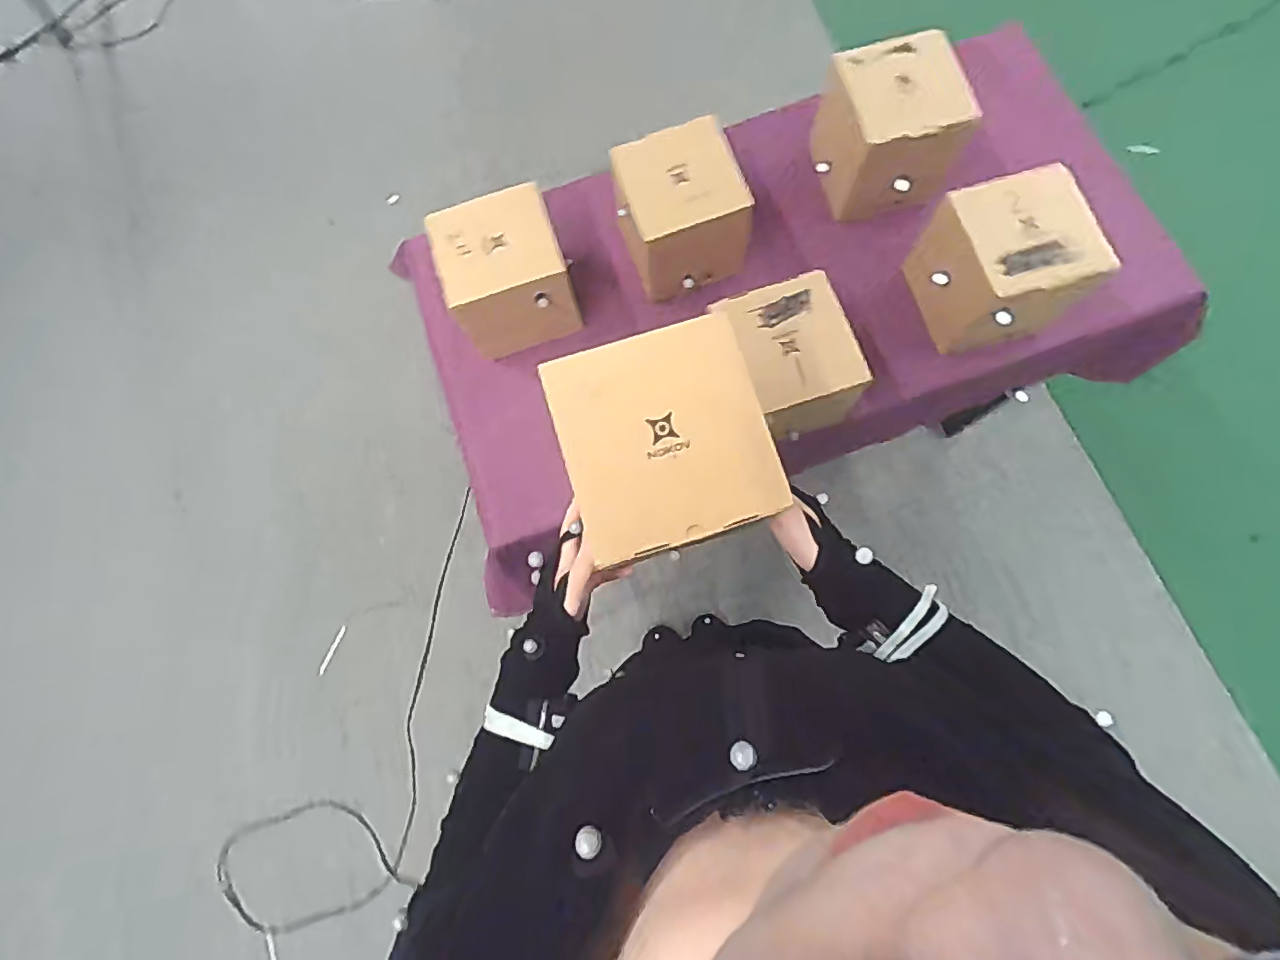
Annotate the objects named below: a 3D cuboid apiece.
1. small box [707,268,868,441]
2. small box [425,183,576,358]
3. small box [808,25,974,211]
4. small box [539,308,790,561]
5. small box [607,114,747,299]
[{"bbox_3d":[0.198,-0.167,0.790,0.168,0.176,0.179,-19,75,1],"label":"small box"},{"bbox_3d":[-0.210,-0.324,0.864,0.179,0.176,0.168,-19,75,0],"label":"small box"},{"bbox_3d":[0.387,-0.565,0.870,0.168,0.176,0.179,-13,76,1],"label":"small box"},{"bbox_3d":[0.016,-0.028,0.513,0.168,0.176,0.179,-17,81,-2],"label":"small box"},{"bbox_3d":[0.058,-0.428,0.868,0.168,0.176,0.179,-19,76,1],"label":"small box"}]
